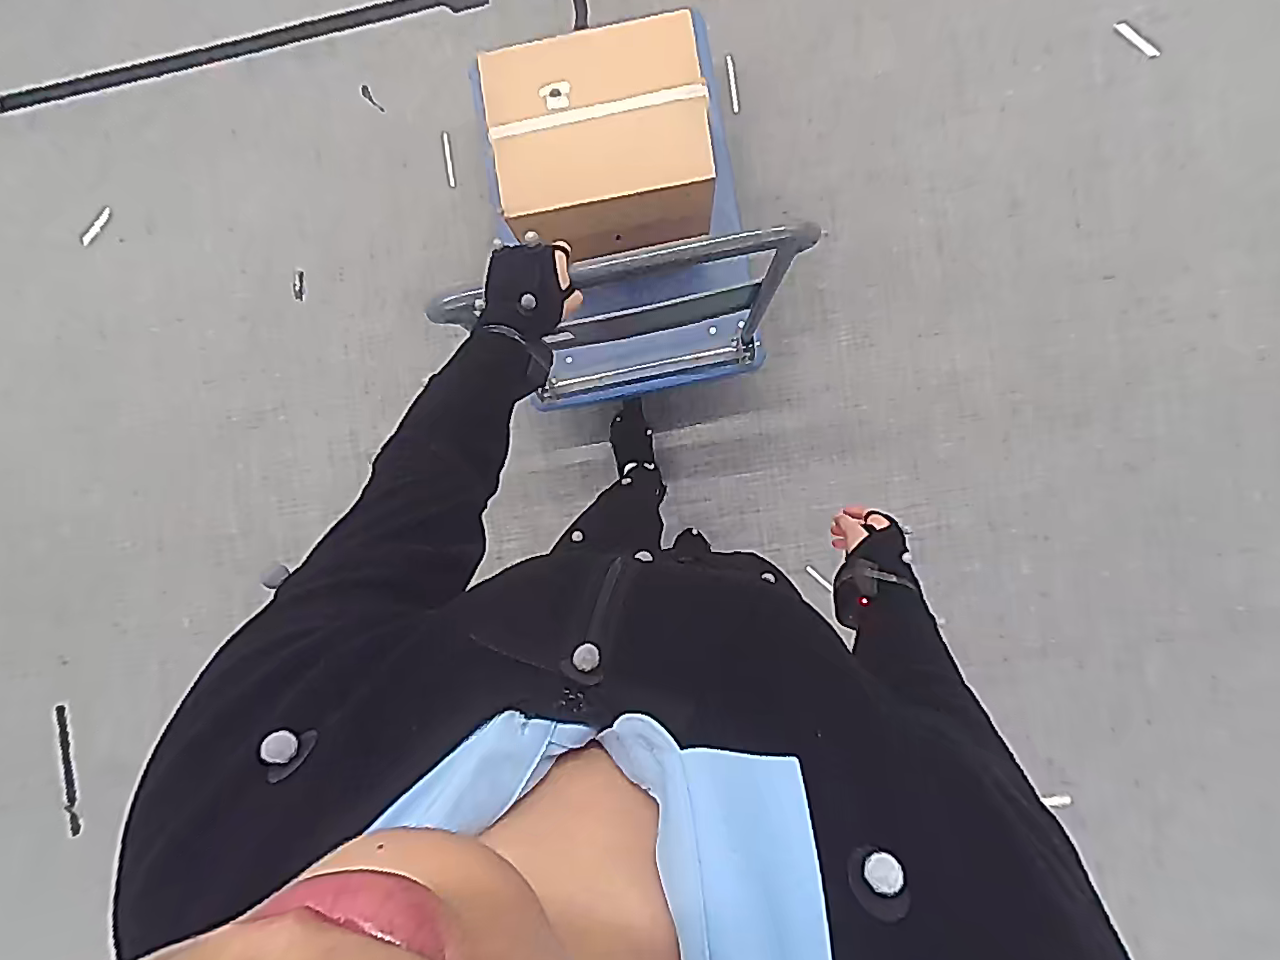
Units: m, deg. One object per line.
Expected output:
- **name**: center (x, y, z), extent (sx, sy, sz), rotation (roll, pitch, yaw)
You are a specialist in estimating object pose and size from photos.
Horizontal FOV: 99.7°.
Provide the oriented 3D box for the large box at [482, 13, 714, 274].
- **large box**: center (-0.070, -0.680, 1.160), extent (0.408, 0.320, 0.320), rotation (-9, 89, 5)
